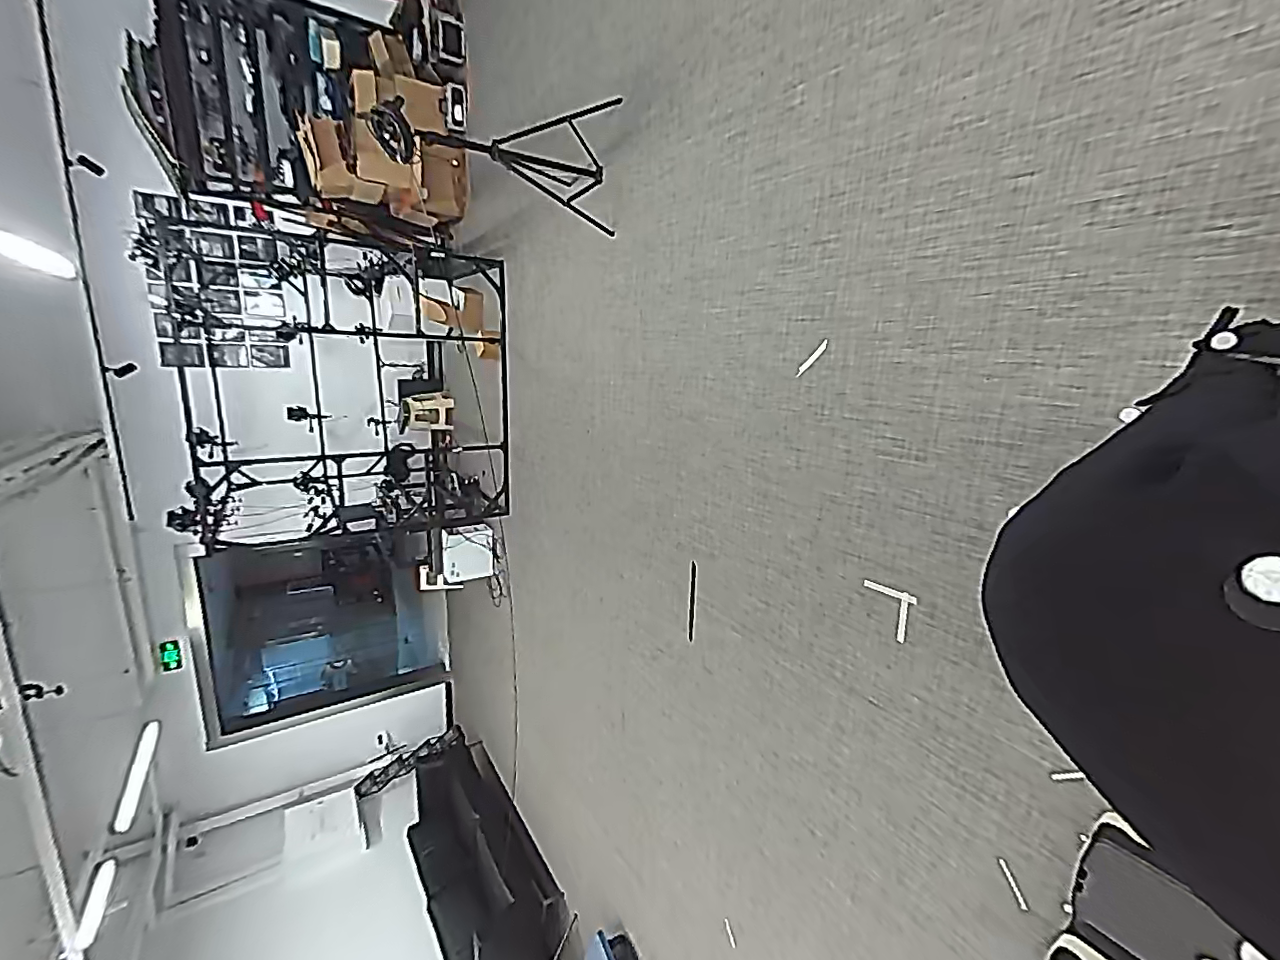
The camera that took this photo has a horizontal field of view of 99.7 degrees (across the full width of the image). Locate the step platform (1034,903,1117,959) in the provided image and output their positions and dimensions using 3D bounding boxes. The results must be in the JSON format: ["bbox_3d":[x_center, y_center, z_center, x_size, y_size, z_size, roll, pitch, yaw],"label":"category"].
[{"bbox_3d":[1.156,1.230,1.039,0.684,0.204,0.286,21,113,57],"label":"step platform"}]
